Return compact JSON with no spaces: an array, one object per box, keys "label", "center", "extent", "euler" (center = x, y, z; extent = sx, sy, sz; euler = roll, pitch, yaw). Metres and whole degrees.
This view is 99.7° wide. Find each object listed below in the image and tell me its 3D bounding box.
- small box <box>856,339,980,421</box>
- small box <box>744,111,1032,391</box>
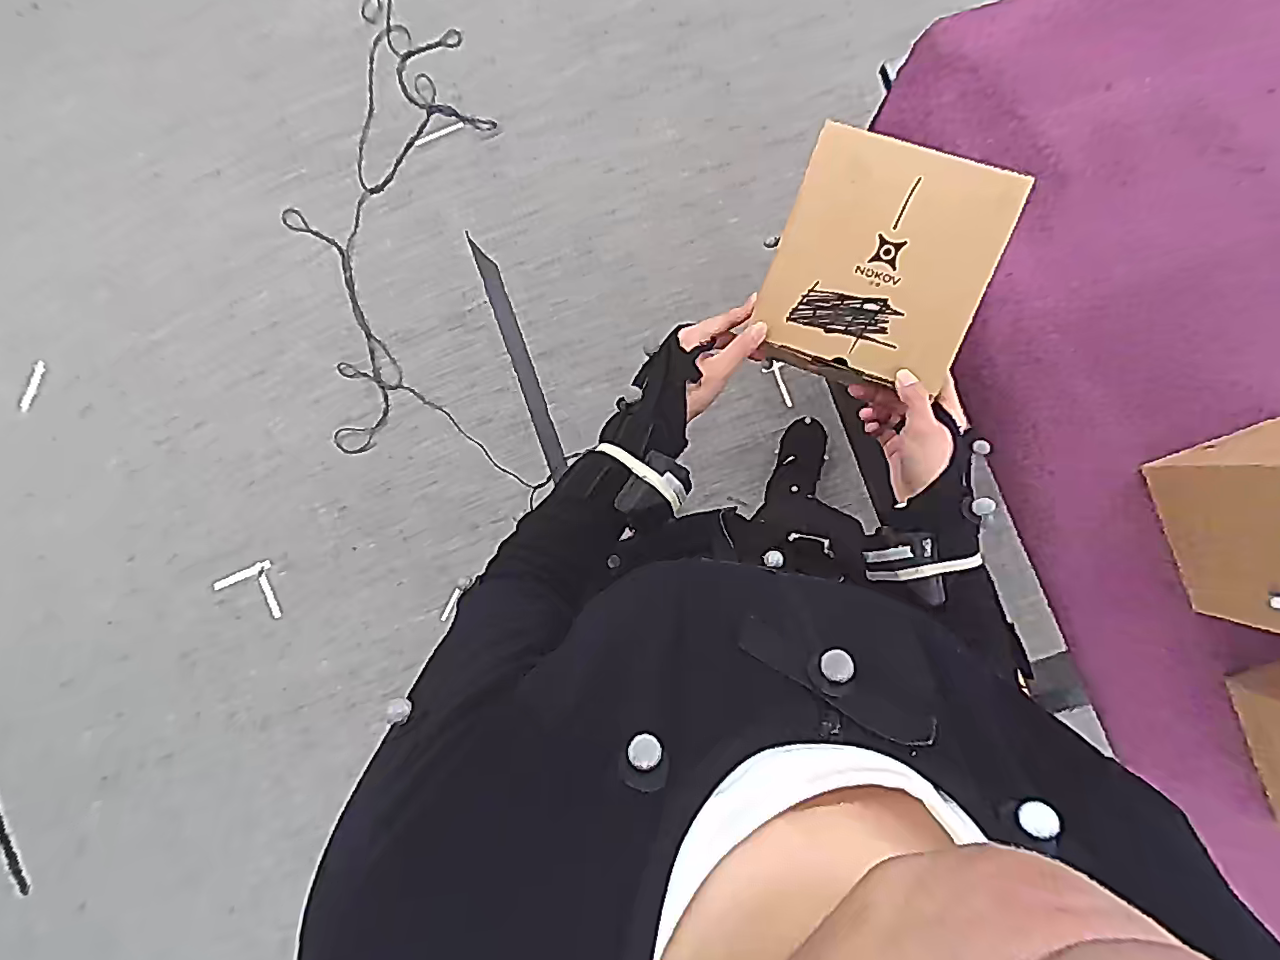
[{"label":"small box","center":[0.565,-0.232,1.141],"extent":[0.168,0.176,0.179],"euler":[-25,88,6]},{"label":"small box","center":[0.204,-0.191,0.504],"extent":[0.168,0.176,0.179],"euler":[20,102,6]}]
